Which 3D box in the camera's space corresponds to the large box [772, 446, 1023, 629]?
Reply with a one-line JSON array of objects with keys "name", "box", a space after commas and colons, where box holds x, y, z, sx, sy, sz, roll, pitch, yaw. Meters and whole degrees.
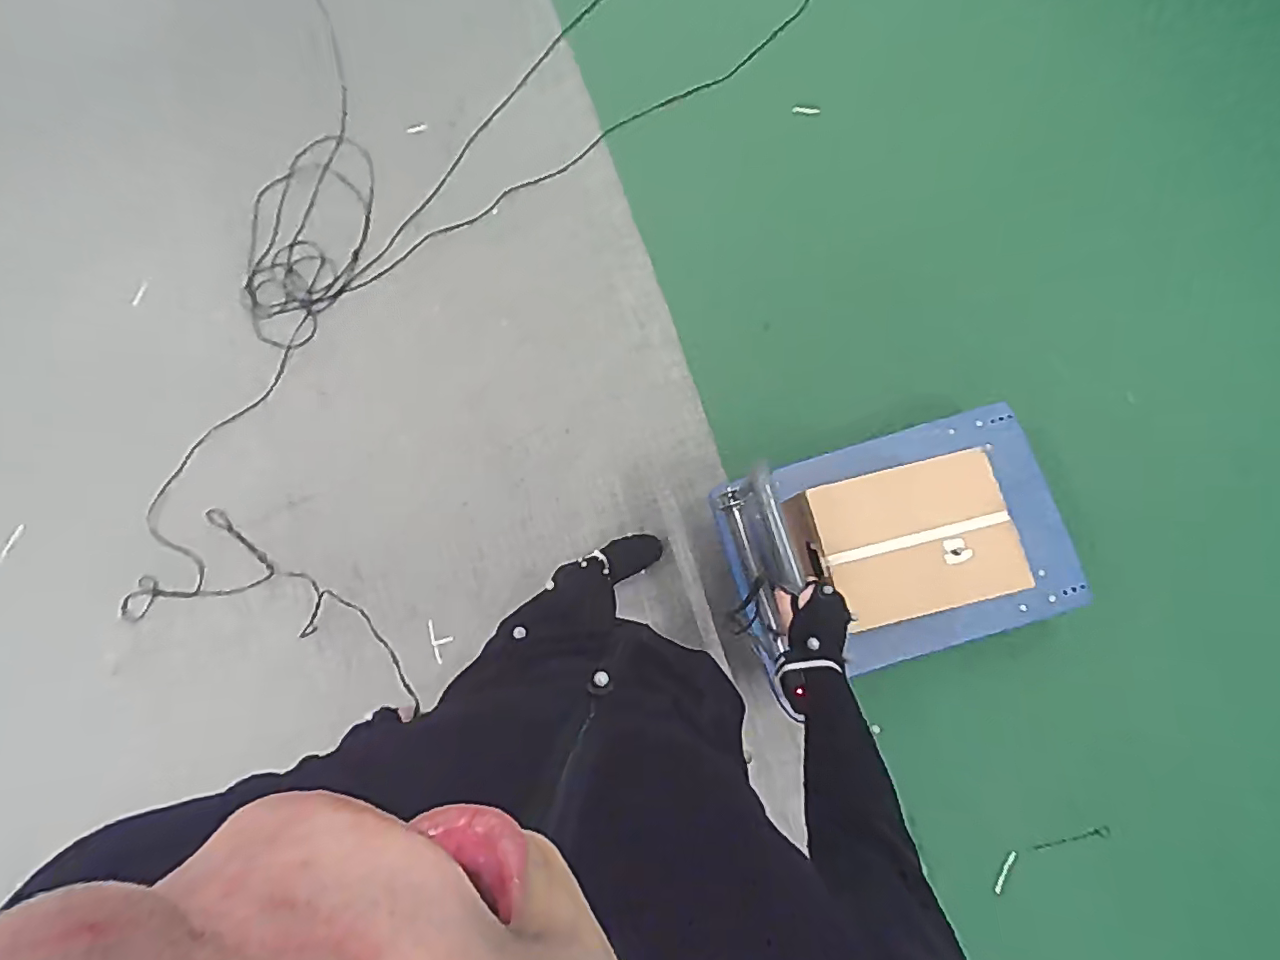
[{"name": "large box", "box": [0.579, 0.144, 1.297, 0.408, 0.320, 0.320, -14, 81, -1]}]
